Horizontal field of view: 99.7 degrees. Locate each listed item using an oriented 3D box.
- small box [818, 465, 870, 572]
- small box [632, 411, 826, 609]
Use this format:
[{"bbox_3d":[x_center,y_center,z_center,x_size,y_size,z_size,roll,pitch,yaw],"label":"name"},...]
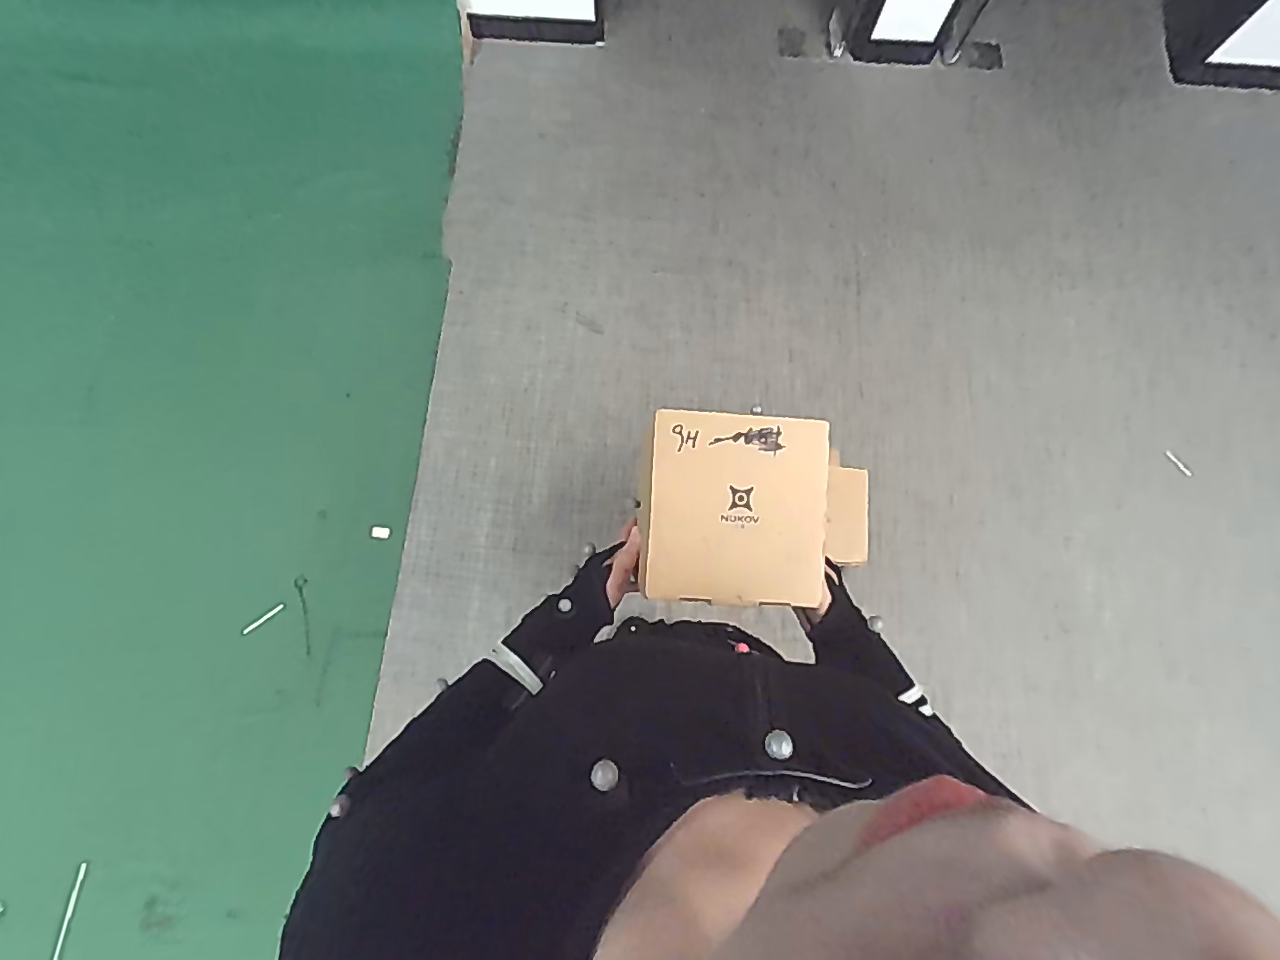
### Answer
[{"bbox_3d":[0.318,0.075,1.023,0.168,0.176,0.179,7,75,2],"label":"small box"},{"bbox_3d":[0.081,0.029,0.572,0.168,0.176,0.179,3,89,-5],"label":"small box"}]
